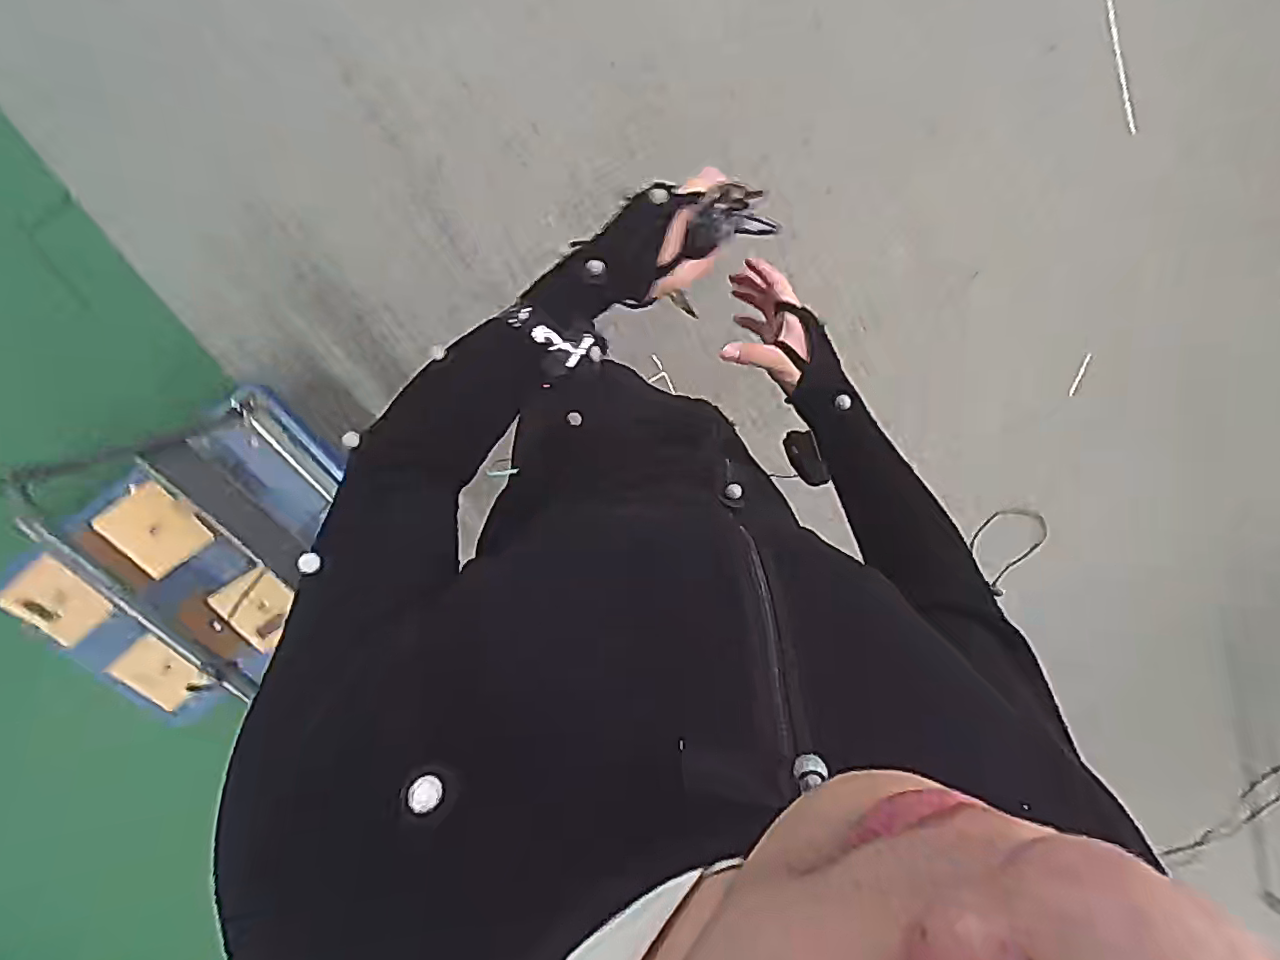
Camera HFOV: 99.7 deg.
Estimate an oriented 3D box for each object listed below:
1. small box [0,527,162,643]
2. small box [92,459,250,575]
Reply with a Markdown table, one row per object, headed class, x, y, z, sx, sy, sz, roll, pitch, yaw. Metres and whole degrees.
| class | x | y | z | sx | sy | sz | roll | pitch | yaw |
| --- | --- | --- | --- | --- | --- | --- | --- | --- | --- |
| small box | -1.271 | 0.231 | 1.244 | 0.179 | 0.176 | 0.168 | -38 | 110 | 4 |
| small box | -1.050 | 0.077 | 1.231 | 0.179 | 0.176 | 0.168 | -34 | 110 | 2 |
